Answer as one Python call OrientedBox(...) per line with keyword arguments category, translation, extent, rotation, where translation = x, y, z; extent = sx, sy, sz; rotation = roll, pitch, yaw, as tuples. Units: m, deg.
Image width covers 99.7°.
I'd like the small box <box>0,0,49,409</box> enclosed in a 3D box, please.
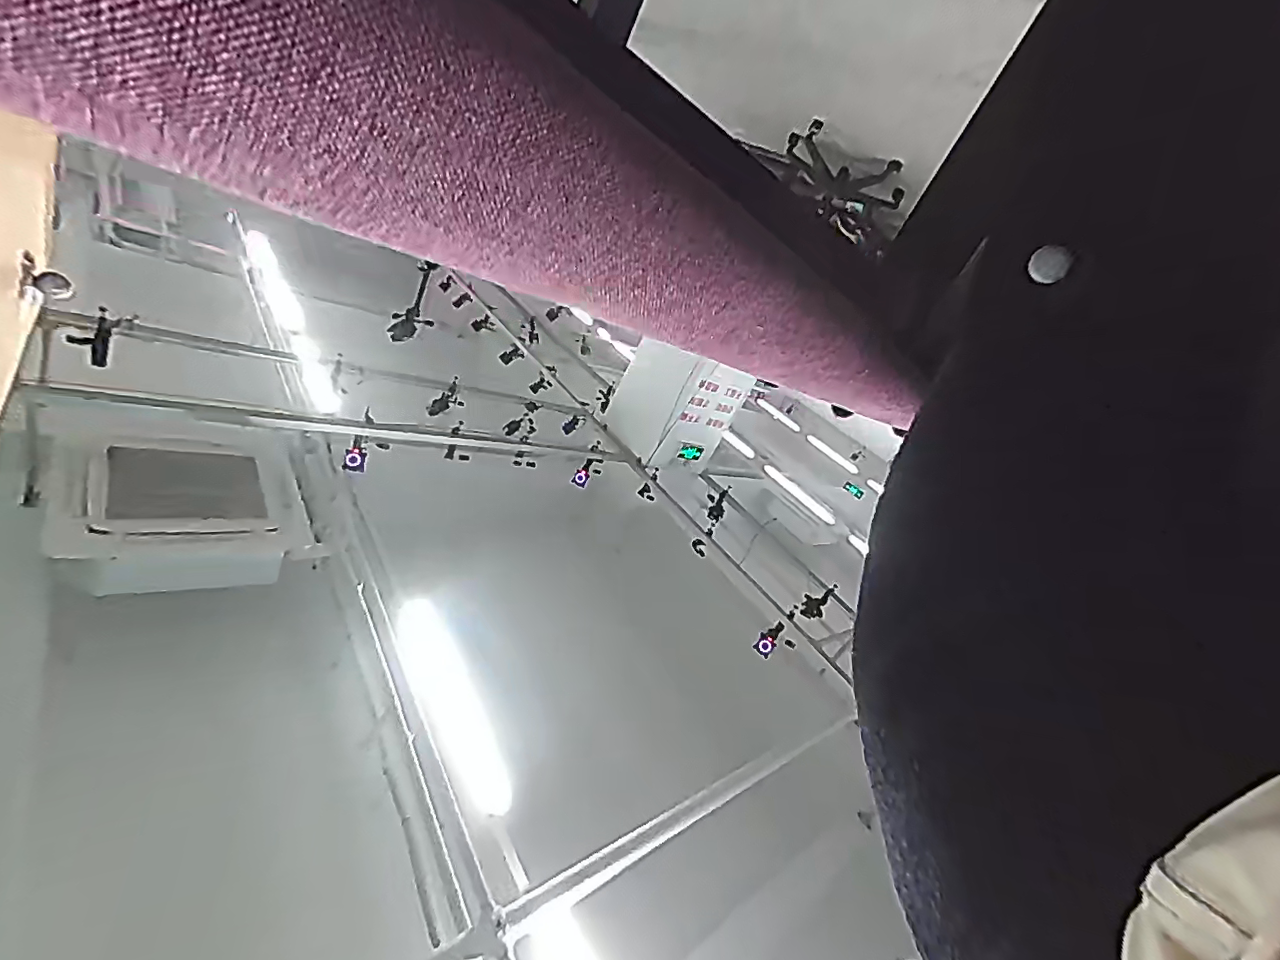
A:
OrientedBox(category="small box", translation=(-0.332, -0.138, 0.184), extent=(0.168, 0.176, 0.179), rotation=(4, -148, -44))
